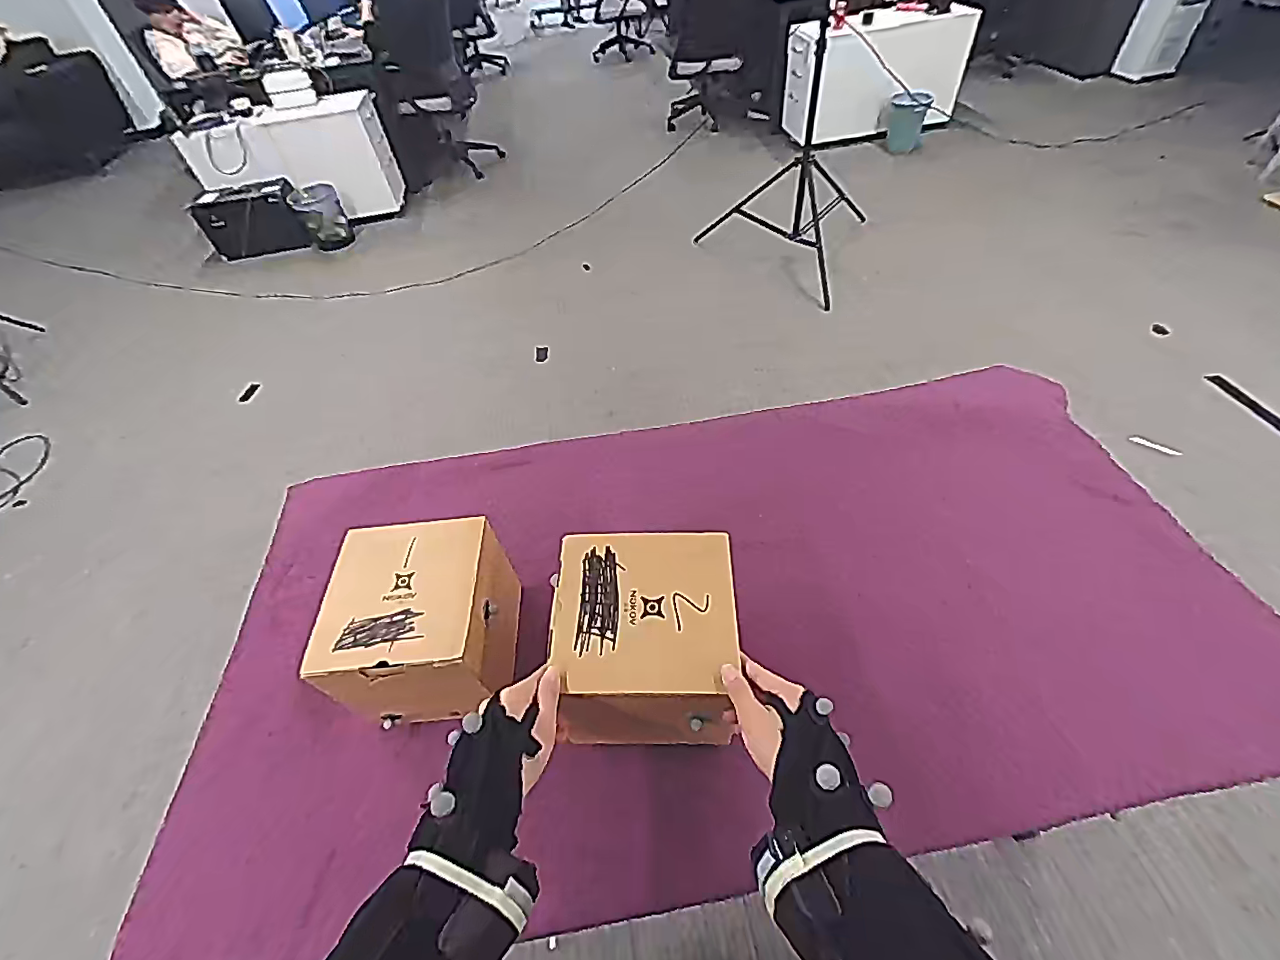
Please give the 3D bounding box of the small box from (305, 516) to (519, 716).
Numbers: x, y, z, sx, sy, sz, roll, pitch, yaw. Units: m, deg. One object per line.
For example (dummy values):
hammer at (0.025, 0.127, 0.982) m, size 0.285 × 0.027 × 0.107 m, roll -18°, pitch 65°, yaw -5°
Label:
small box at (-0.248, 0.167, 0.642) m, size 0.168 × 0.176 × 0.179 m, roll -6°, pitch 49°, yaw 1°
